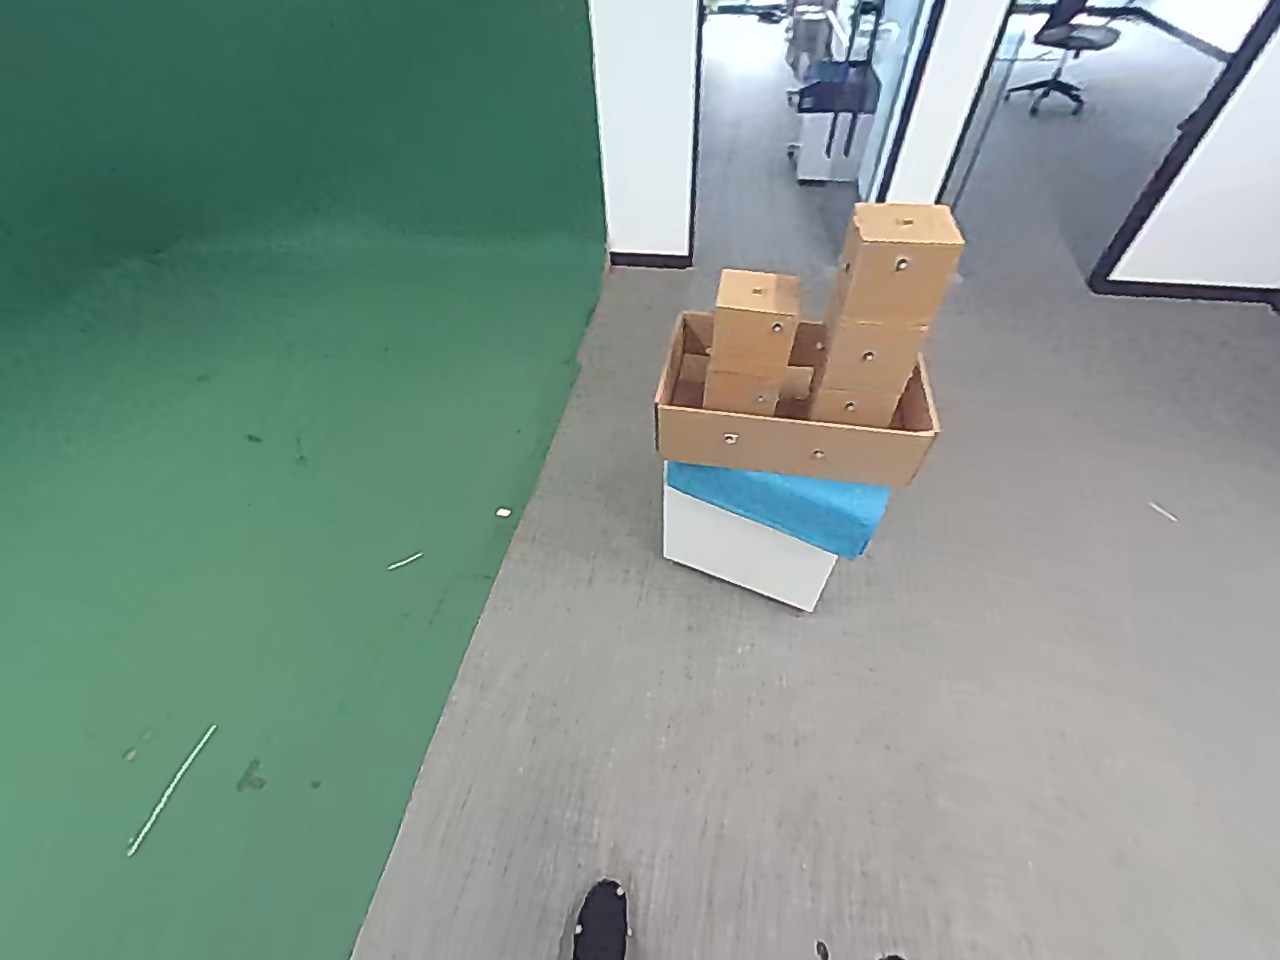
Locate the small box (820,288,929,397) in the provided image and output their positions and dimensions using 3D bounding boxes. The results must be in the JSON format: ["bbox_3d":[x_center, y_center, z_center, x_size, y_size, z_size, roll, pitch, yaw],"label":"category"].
[{"bbox_3d":[0.499,-0.297,1.177,0.179,0.176,0.168,6,47,10],"label":"small box"}]

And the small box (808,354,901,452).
[{"bbox_3d":[0.505,-0.184,1.296,0.179,0.176,0.168,7,48,10],"label":"small box"}]

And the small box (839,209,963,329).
[{"bbox_3d":[0.495,-0.412,1.061,0.179,0.176,0.168,7,48,9],"label":"small box"}]
